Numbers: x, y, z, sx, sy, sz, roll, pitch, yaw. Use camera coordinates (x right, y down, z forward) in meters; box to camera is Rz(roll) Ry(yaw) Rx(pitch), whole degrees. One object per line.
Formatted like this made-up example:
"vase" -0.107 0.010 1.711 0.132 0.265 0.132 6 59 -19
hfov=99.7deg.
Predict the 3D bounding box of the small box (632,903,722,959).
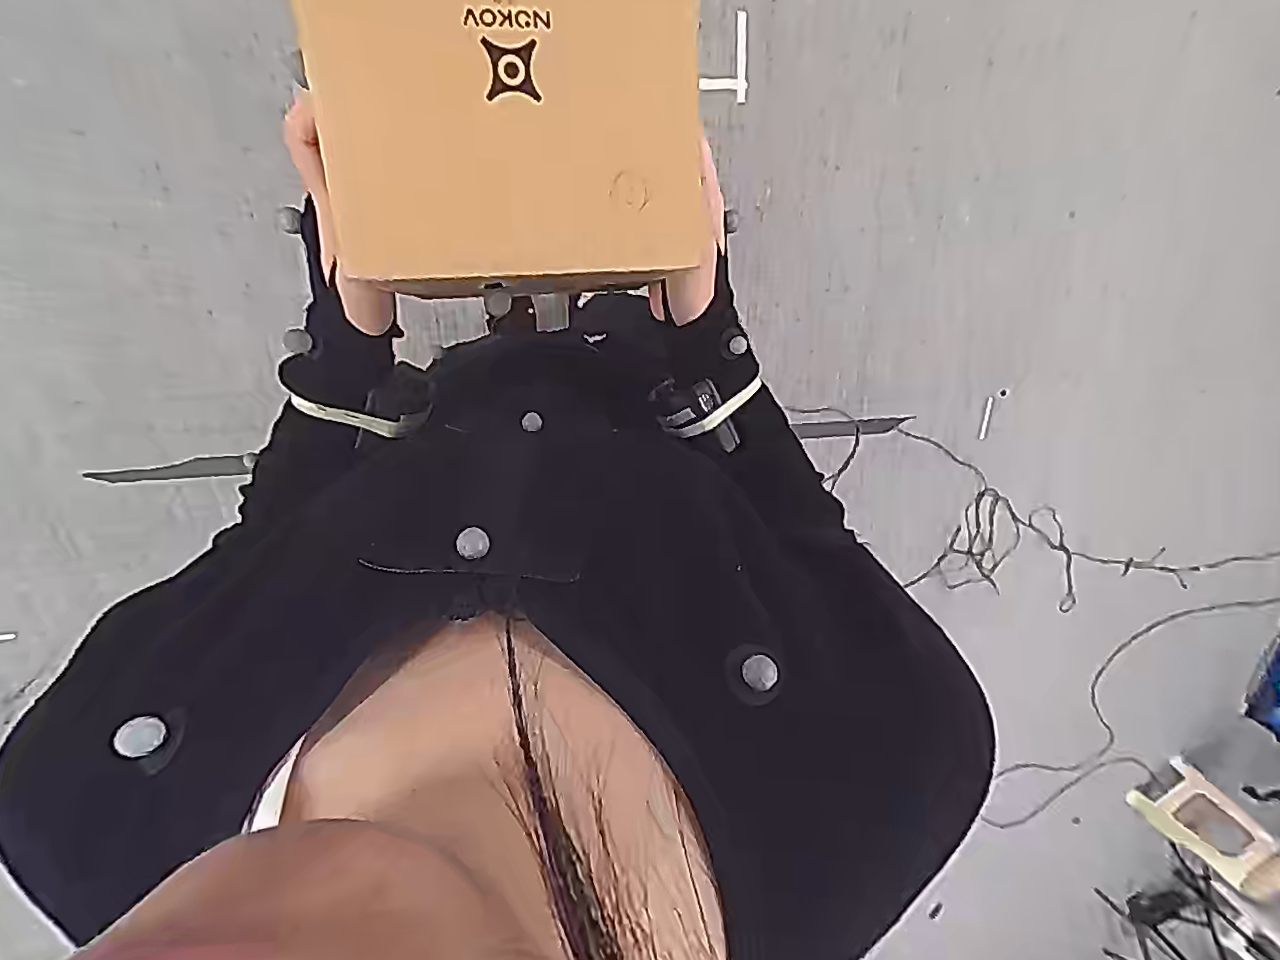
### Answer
"small box" 0.080 1.013 1.098 0.168 0.176 0.179 -3 111 -11

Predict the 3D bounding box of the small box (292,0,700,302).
"small box" -0.067 -0.195 0.304 0.168 0.176 0.179 -6 105 -8
